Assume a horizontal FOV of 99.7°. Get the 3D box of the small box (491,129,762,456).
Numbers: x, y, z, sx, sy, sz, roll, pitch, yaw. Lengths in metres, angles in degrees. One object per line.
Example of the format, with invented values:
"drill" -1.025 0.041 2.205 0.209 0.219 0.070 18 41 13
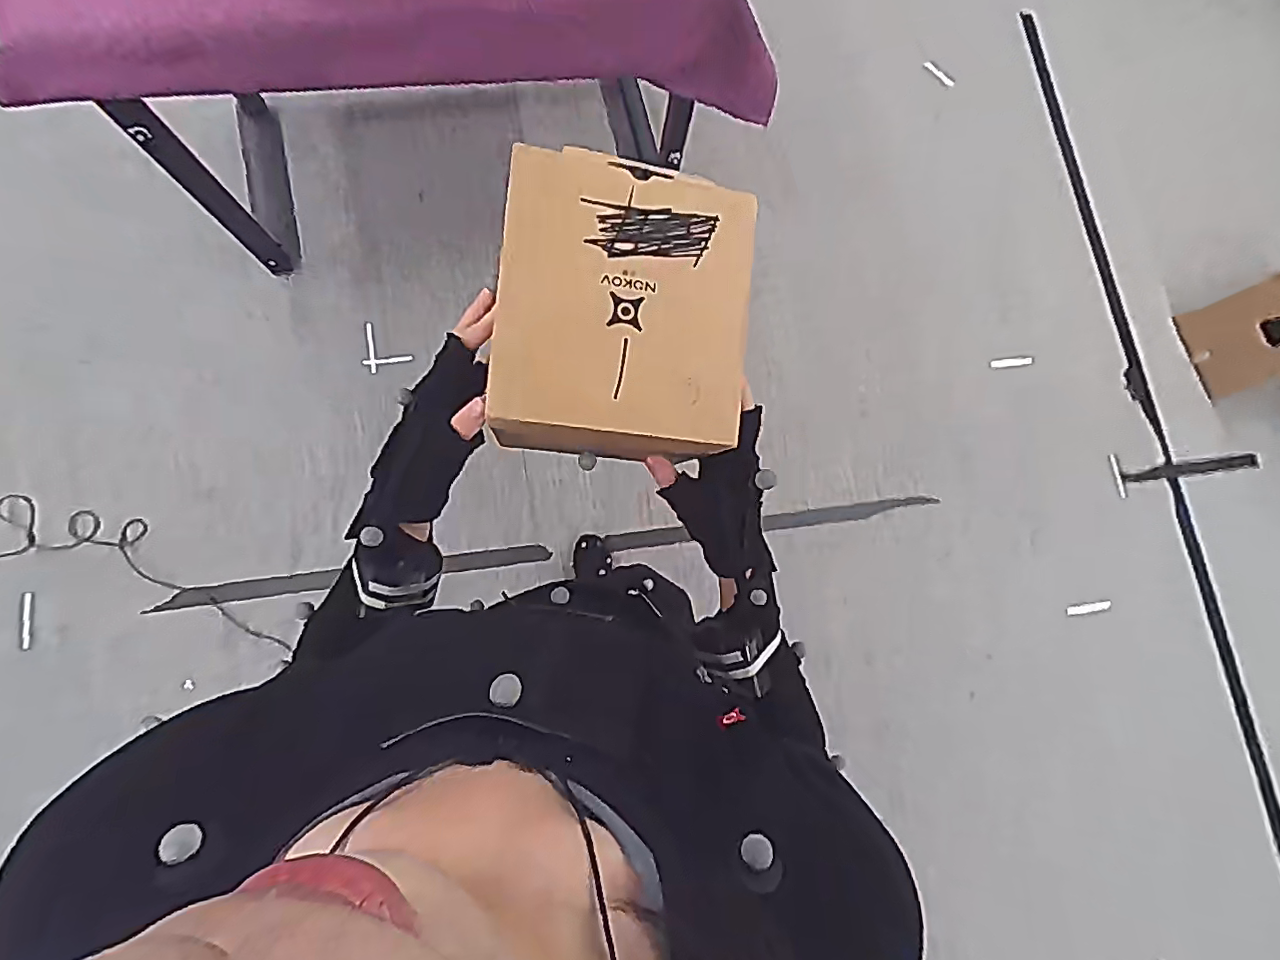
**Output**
"small box" -0.019 -0.121 0.423 0.168 0.176 0.179 6 86 -11
